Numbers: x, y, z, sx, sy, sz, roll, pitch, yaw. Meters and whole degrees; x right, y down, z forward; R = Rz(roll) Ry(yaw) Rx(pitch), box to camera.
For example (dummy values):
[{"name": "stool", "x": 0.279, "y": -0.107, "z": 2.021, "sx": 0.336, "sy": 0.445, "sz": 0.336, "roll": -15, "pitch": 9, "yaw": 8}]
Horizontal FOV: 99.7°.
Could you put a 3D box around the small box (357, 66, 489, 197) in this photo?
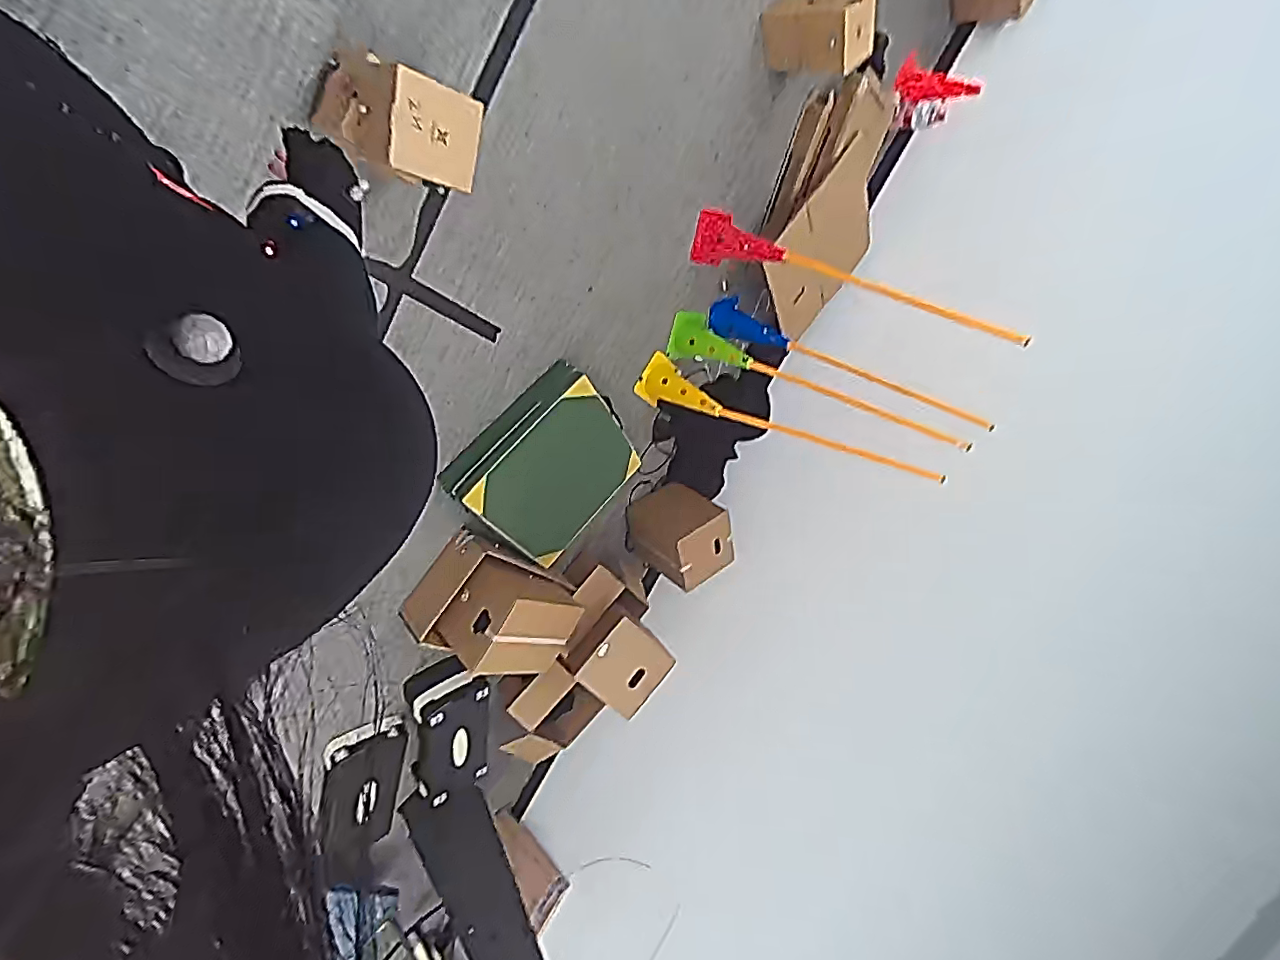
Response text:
[{"name": "small box", "x": -0.437, "y": -0.696, "z": 1.083, "sx": 0.179, "sy": 0.176, "sz": 0.168, "roll": -1, "pitch": 117, "yaw": -47}]

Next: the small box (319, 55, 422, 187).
[{"name": "small box", "x": -0.557, "y": -0.771, "z": 1.169, "sx": 0.179, "sy": 0.176, "sz": 0.168, "roll": 17, "pitch": 104, "yaw": -55}]
